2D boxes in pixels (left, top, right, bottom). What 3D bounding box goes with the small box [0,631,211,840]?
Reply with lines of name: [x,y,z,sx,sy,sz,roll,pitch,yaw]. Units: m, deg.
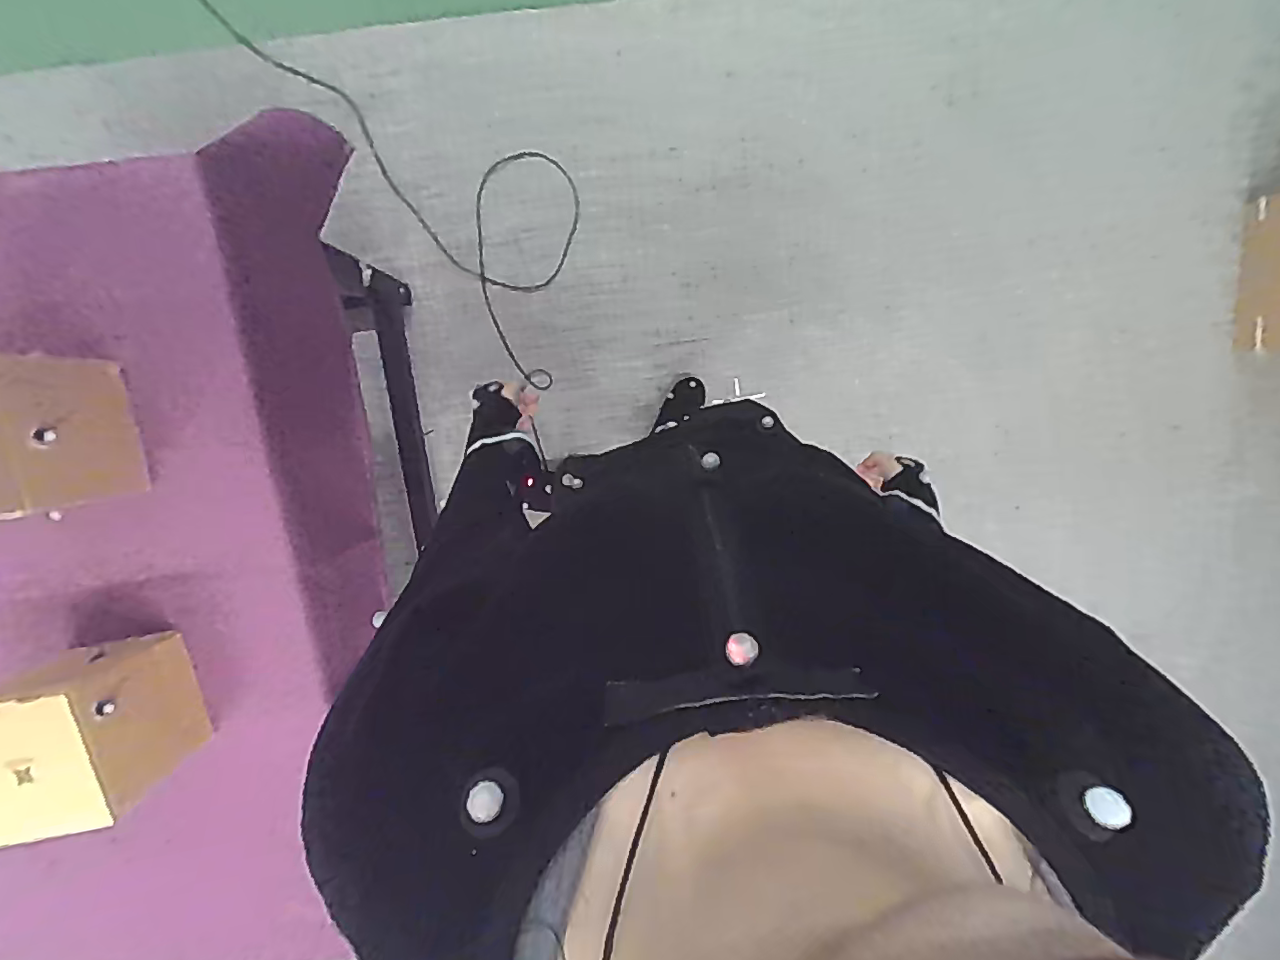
small box: [-0.722,0.325,0.714,0.168,0.176,0.179,-11,98,0]

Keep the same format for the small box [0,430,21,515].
small box: [-0.747,-0.030,0.488,0.168,0.176,0.179,-6,100,-2]

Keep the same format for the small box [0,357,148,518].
small box: [-0.754,-0.052,0.651,0.168,0.176,0.179,-6,99,-1]
